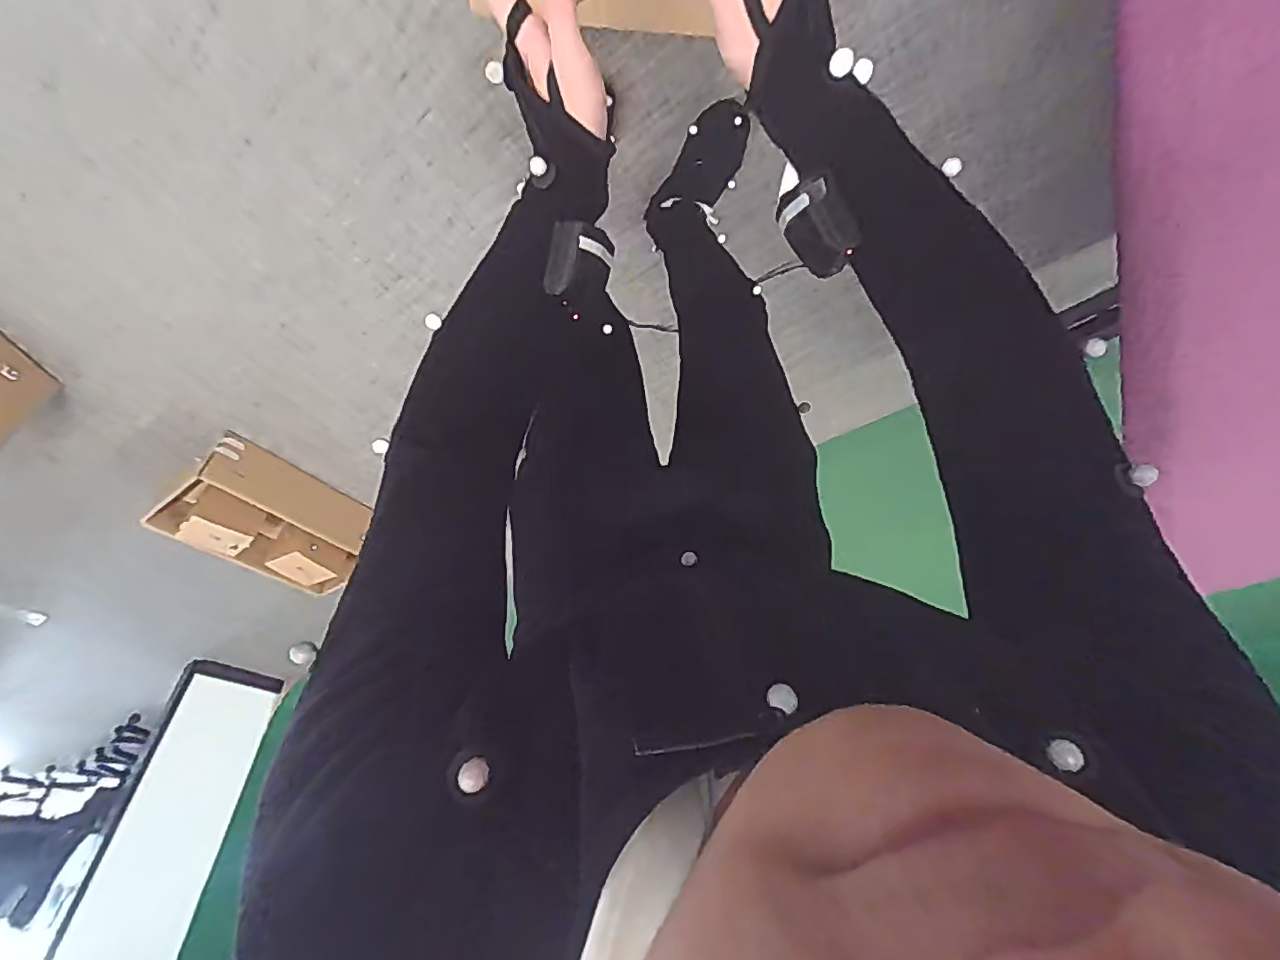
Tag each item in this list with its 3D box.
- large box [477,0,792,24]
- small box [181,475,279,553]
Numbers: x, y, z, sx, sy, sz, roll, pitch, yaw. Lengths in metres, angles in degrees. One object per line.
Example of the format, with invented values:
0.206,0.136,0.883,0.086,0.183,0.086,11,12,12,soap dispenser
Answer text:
-0.007,-0.803,0.666,0.408,0.320,0.320,1,142,-4,large box
-1.330,0.105,1.765,0.168,0.176,0.179,-29,133,29,small box
